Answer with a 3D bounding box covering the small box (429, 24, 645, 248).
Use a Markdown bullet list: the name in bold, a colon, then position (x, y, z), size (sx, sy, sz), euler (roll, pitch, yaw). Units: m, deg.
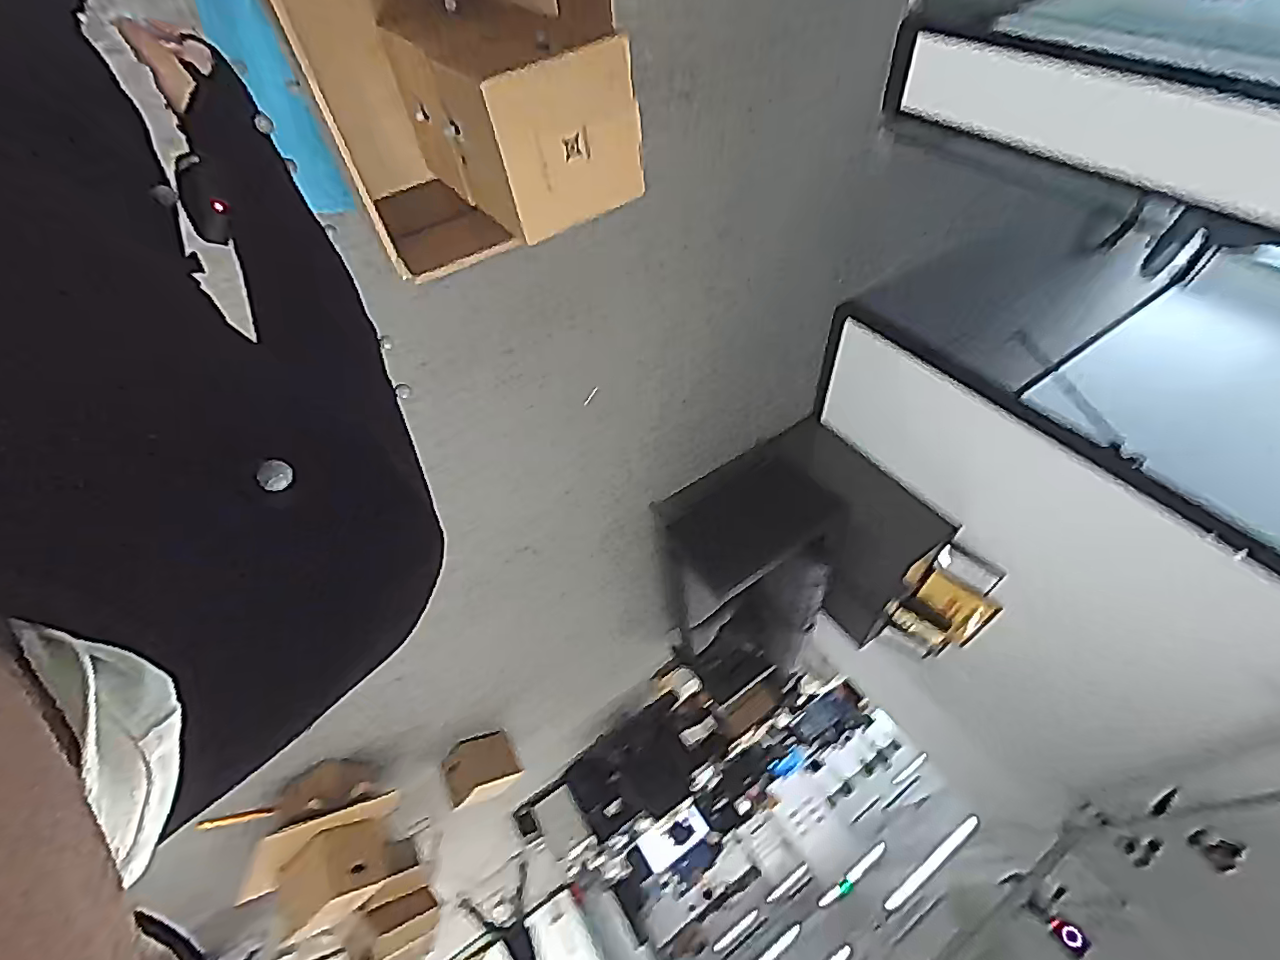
- **small box**: position (-0.117, -0.414, 0.645), size (0.179, 0.176, 0.168), euler (-32, 144, -17)
